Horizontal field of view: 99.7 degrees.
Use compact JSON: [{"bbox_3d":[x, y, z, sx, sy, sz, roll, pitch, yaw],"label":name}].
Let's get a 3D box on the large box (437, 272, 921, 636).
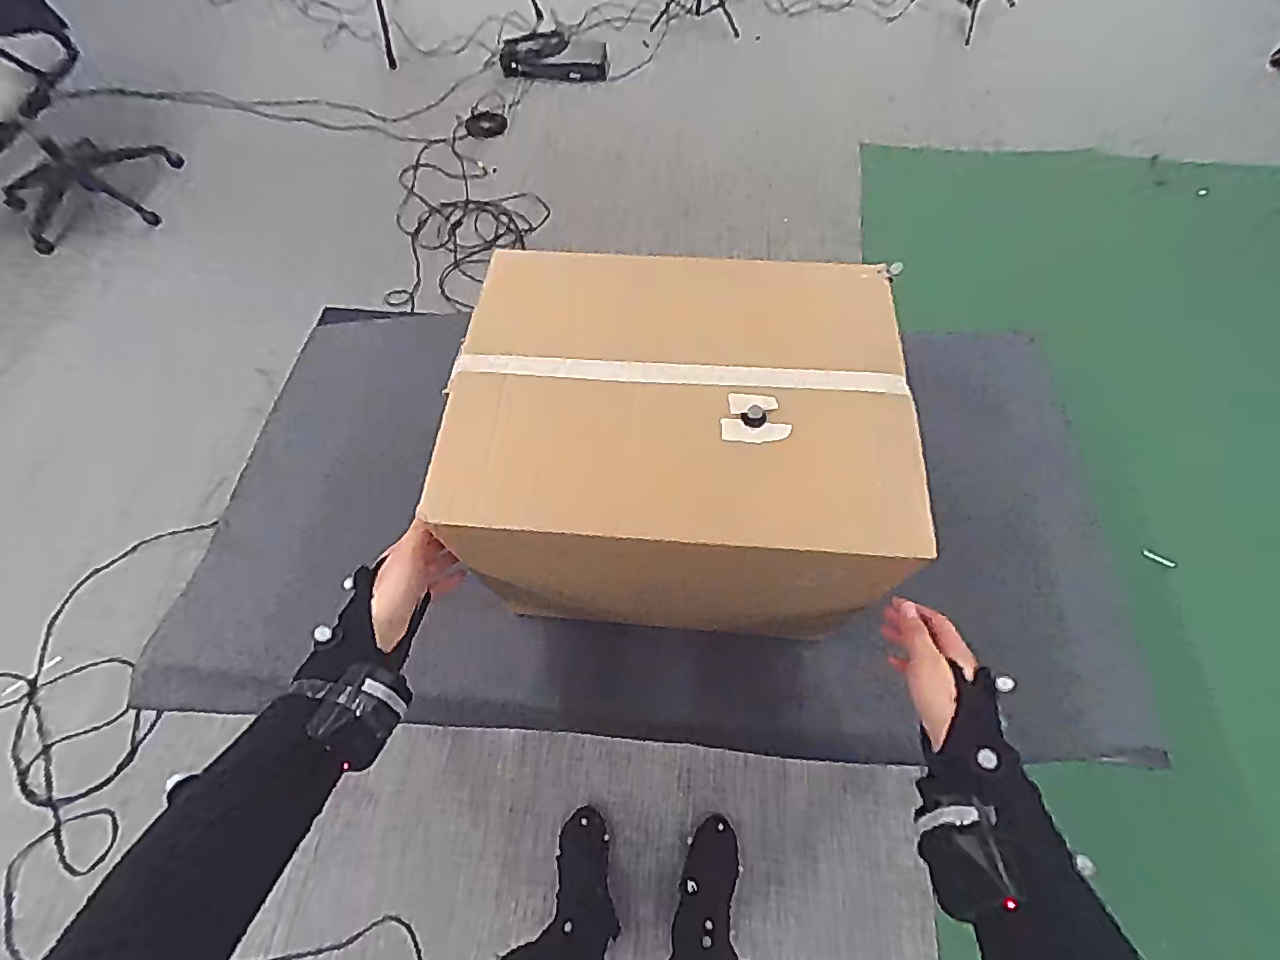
[{"bbox_3d":[0.039,-0.012,0.637,0.408,0.320,0.320,4,63,3],"label":"large box"}]
